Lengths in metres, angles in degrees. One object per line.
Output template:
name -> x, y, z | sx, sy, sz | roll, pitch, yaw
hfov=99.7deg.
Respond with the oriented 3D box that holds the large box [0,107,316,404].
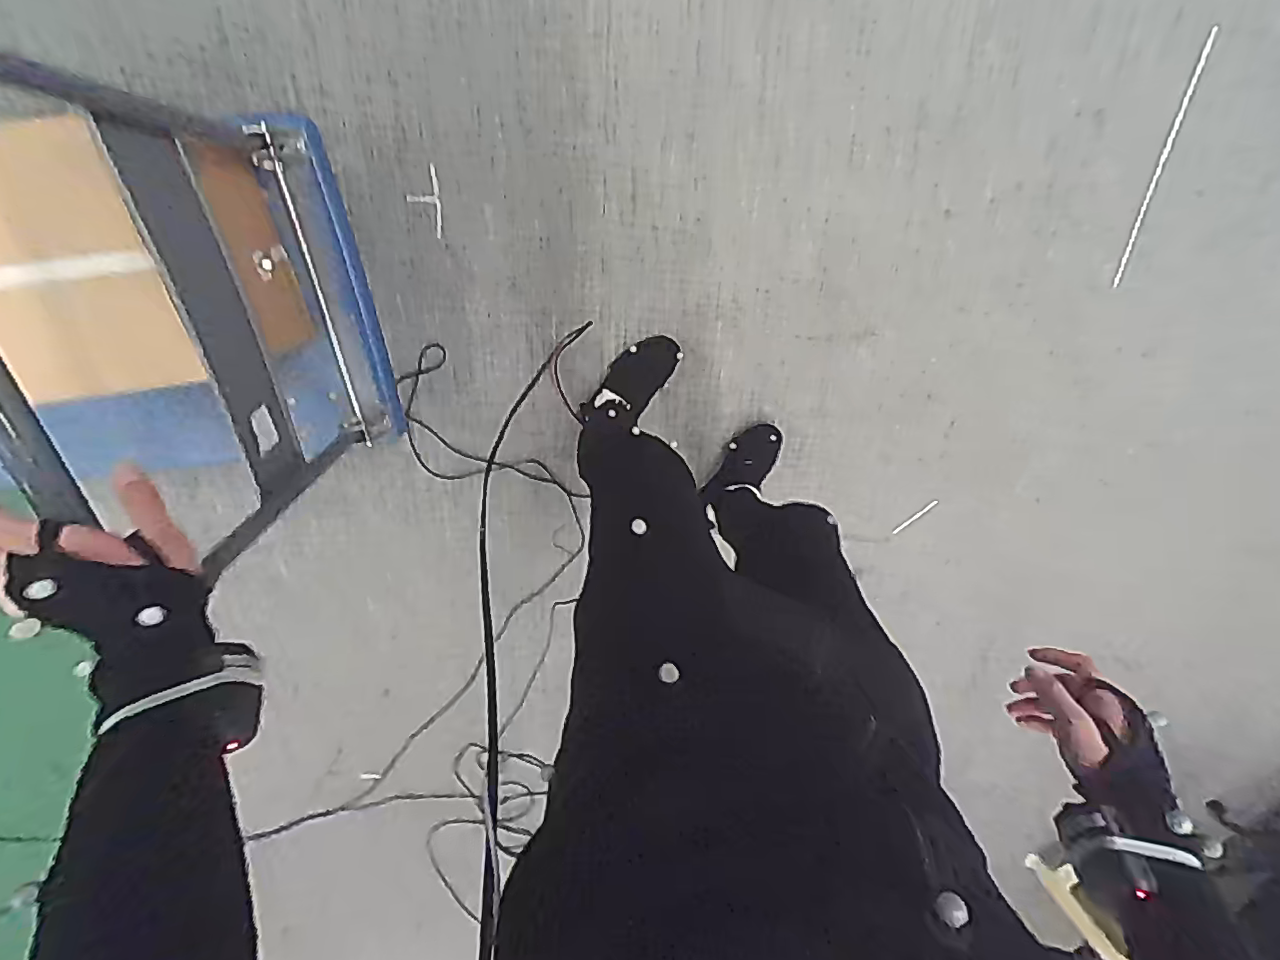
large box -> -0.799, -0.321, 0.804 | 0.408, 0.320, 0.320 | -8, 116, -1
